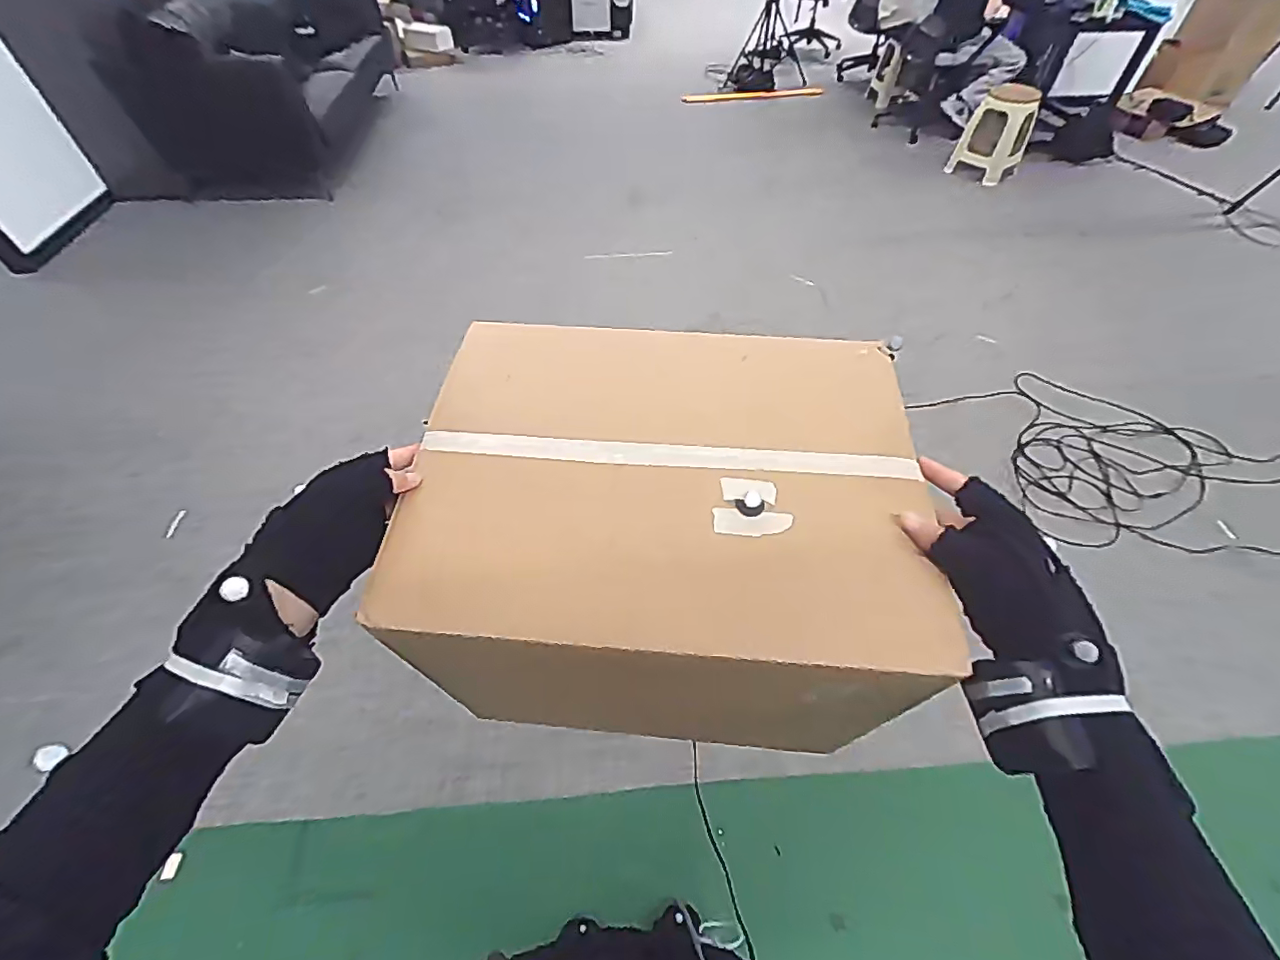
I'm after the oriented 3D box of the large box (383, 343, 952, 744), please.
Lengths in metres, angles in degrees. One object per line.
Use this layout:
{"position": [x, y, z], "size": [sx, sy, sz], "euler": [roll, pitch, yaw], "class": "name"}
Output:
{"position": [0.025, 0.077, 0.577], "size": [0.408, 0.320, 0.320], "euler": [3, 56, 3], "class": "large box"}
